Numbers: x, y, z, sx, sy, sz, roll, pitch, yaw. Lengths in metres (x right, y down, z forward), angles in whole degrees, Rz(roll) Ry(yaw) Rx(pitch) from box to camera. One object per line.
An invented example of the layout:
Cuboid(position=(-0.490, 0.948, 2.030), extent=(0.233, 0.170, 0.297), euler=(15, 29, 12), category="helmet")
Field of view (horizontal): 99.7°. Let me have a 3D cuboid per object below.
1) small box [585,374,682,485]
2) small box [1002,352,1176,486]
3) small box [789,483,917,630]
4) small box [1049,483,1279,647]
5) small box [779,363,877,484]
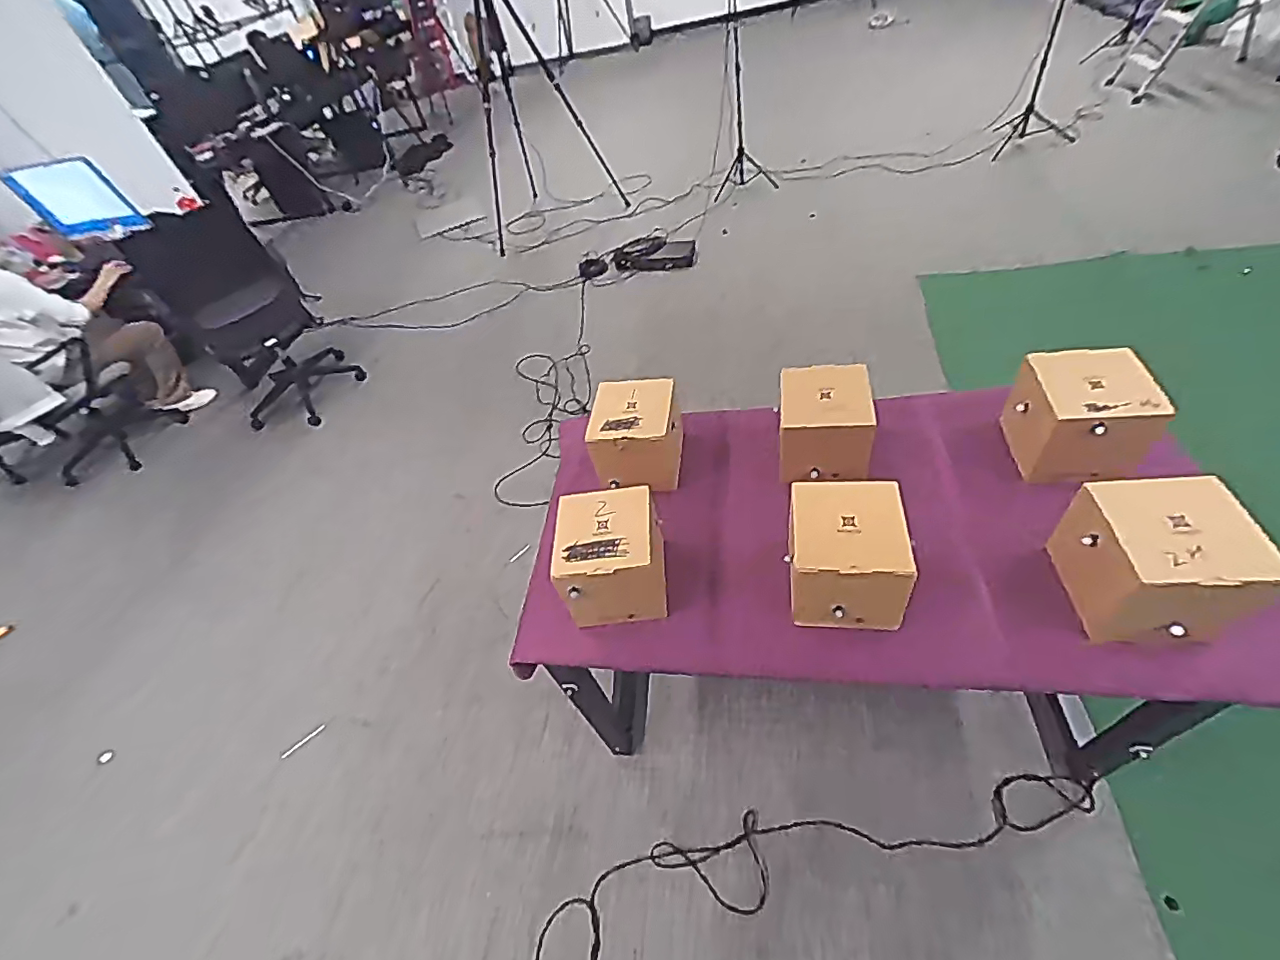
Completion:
Cuboid(position=(-0.005, -0.102, 1.147), extent=(0.168, 0.176, 0.179), euler=(0, 51, 12), category="small box")
Cuboid(position=(0.790, -0.109, 0.980), extent=(0.168, 0.176, 0.179), euler=(-1, 50, 13), category="small box")
Cuboid(position=(0.334, 0.124, 0.886), extent=(0.168, 0.176, 0.179), euler=(0, 50, 12), category="small box")
Cuboid(position=(0.743, 0.125, 0.789), extent=(0.168, 0.176, 0.179), euler=(-3, 50, 12), category="small box")
Cuboid(position=(0.366, -0.113, 1.080), extent=(0.168, 0.176, 0.179), euler=(1, 52, 14), category="small box")
